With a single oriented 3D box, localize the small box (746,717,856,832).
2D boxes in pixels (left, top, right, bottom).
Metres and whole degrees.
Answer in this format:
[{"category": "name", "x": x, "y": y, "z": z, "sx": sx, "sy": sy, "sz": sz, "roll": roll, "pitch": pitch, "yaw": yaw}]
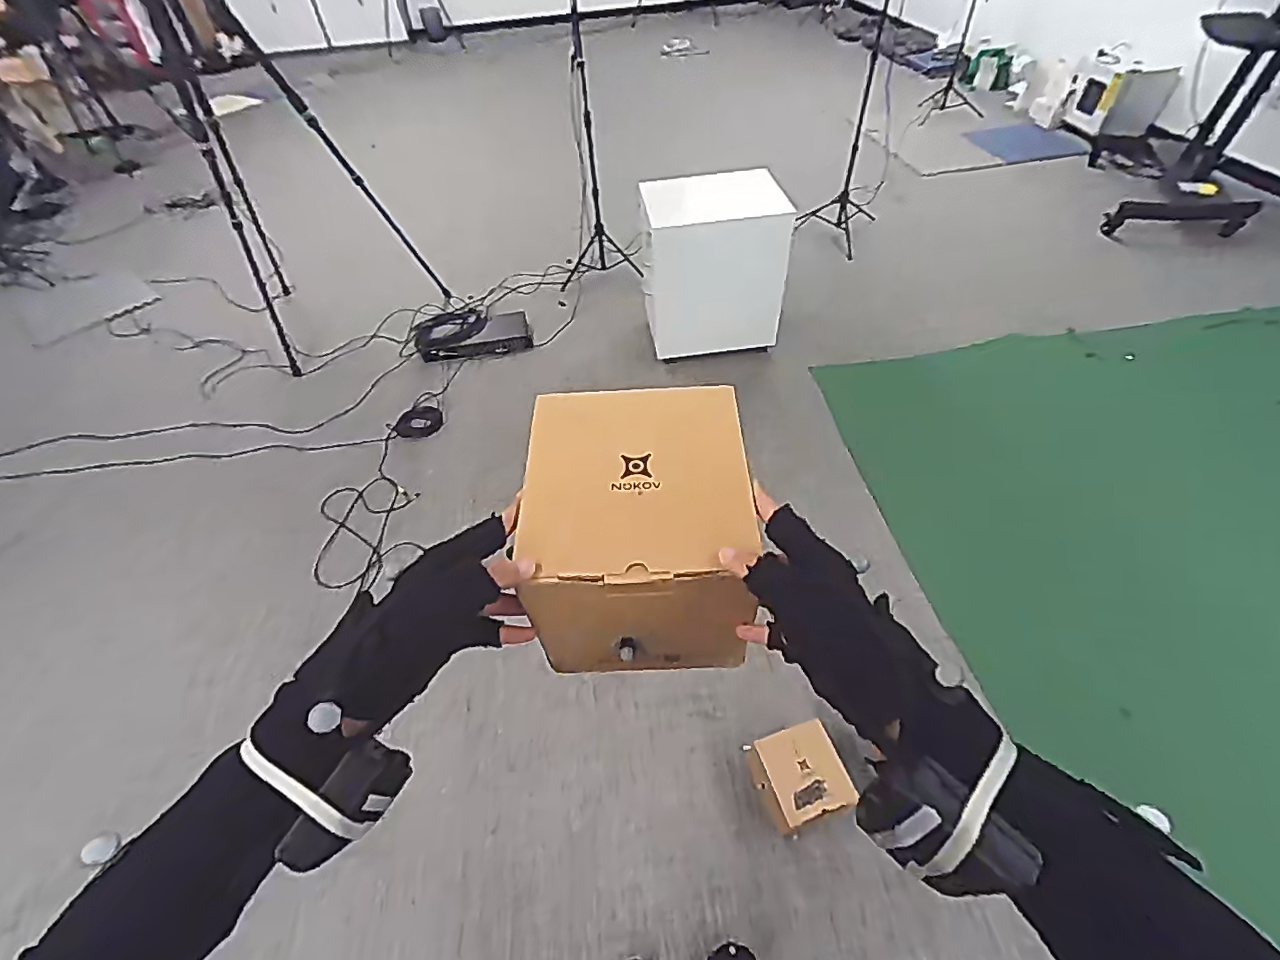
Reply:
[{"category": "small box", "x": 0.353, "y": 0.669, "z": 1.220, "sx": 0.168, "sy": 0.176, "sz": 0.179, "roll": -15, "pitch": 50, "yaw": -10}]
